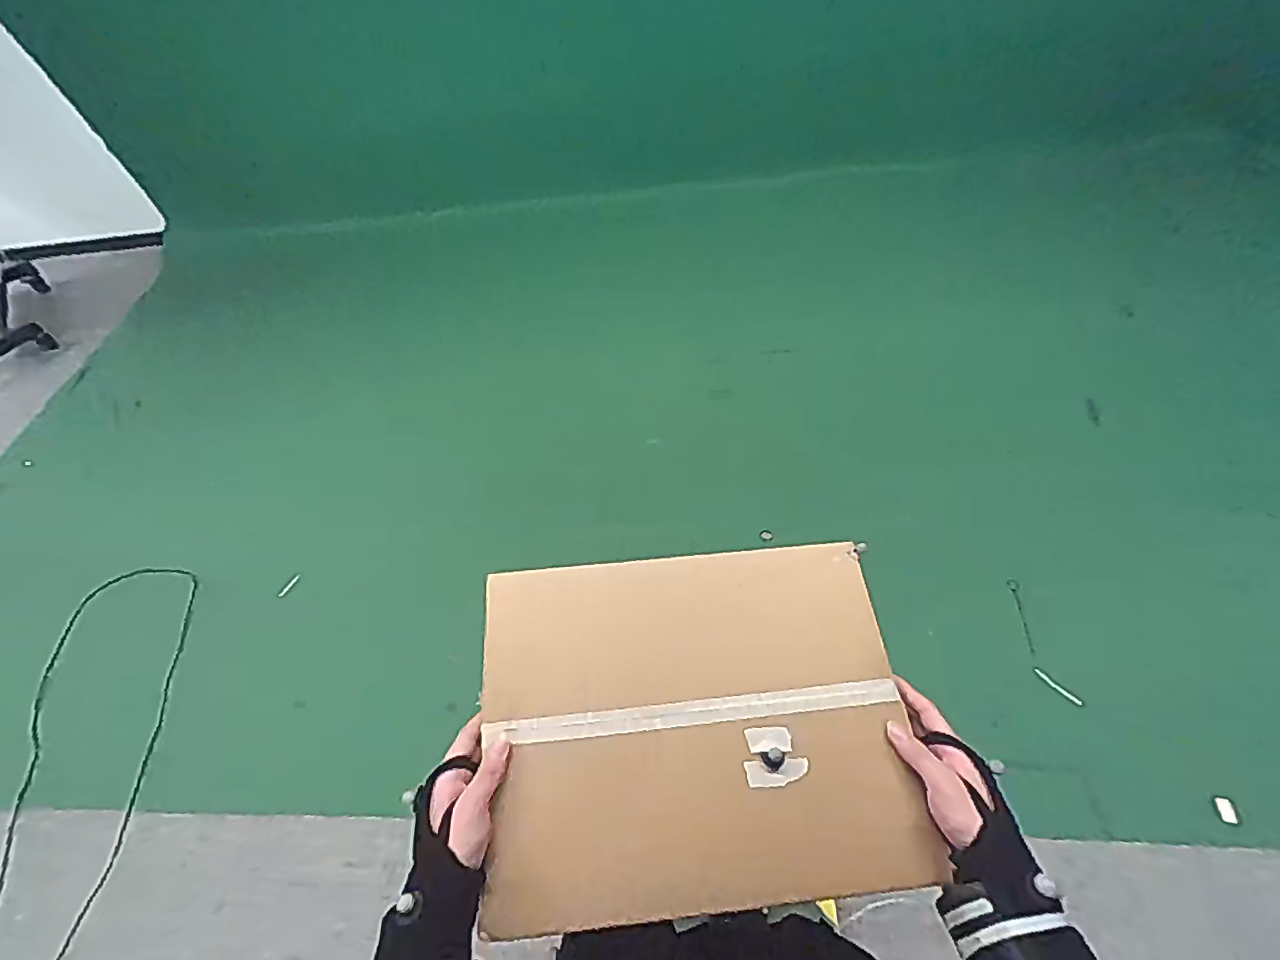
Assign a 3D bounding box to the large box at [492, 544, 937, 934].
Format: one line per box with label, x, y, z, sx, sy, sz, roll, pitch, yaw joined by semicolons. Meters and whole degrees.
large box;0.050;0.296;0.668;0.408;0.320;0.320;-5;64;-4
